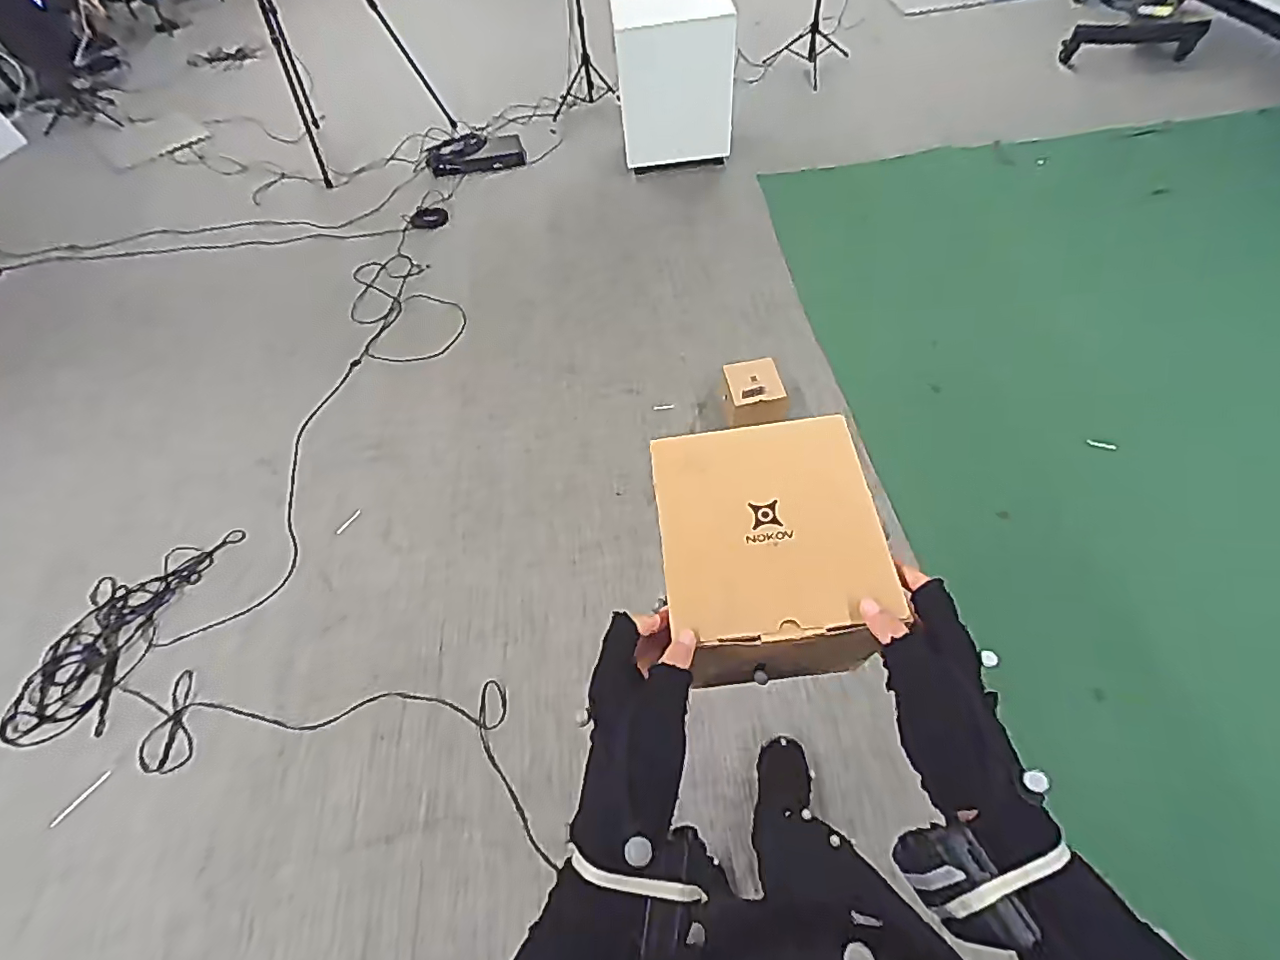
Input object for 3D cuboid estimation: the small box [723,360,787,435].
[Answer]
[{"bbox_3d":[0.371,-0.262,1.767,0.168,0.176,0.179,-9,56,0],"label":"small box"}]
